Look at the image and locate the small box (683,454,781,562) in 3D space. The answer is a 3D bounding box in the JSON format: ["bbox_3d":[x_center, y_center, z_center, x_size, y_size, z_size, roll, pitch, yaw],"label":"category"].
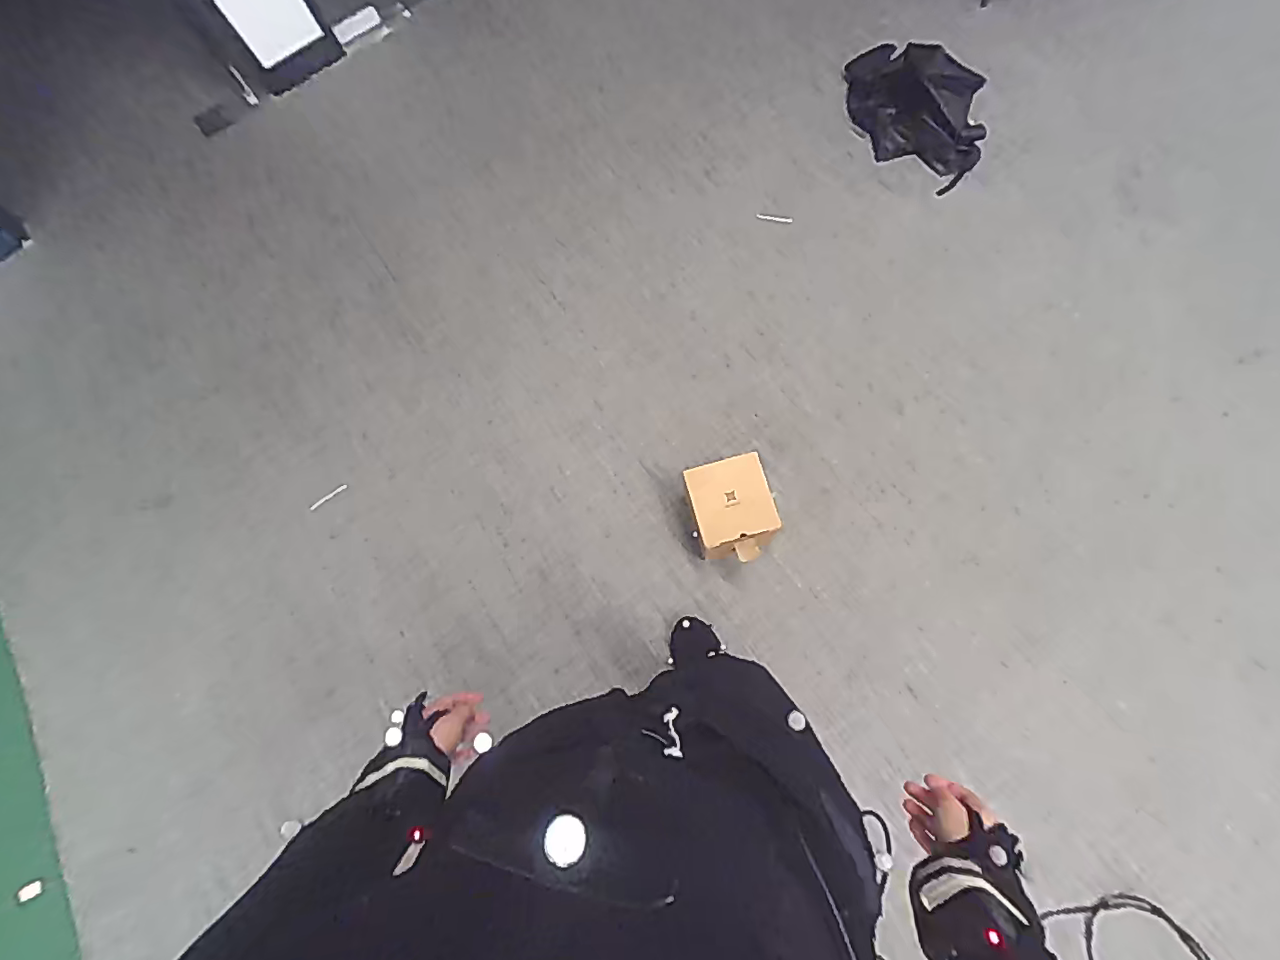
[{"bbox_3d":[0.194,0.067,1.194,0.168,0.176,0.179,-16,72,1],"label":"small box"}]
